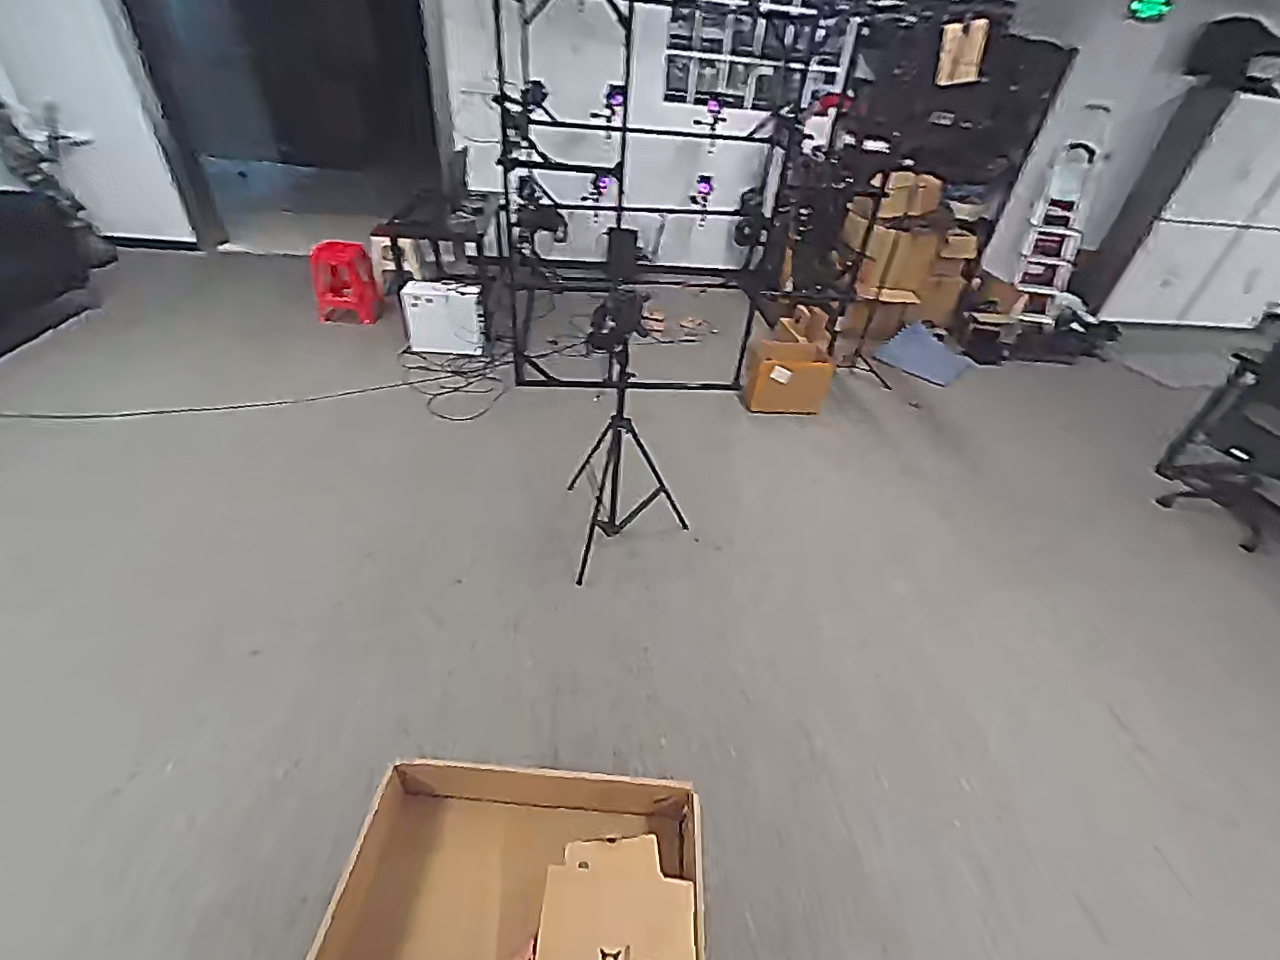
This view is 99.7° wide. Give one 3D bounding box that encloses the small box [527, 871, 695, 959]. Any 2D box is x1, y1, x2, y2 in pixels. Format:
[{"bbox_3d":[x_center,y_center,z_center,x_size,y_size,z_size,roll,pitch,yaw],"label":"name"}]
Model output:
[{"bbox_3d":[-0.042,0.569,0.603,0.179,0.176,0.168,11,38,-6],"label":"small box"}]
